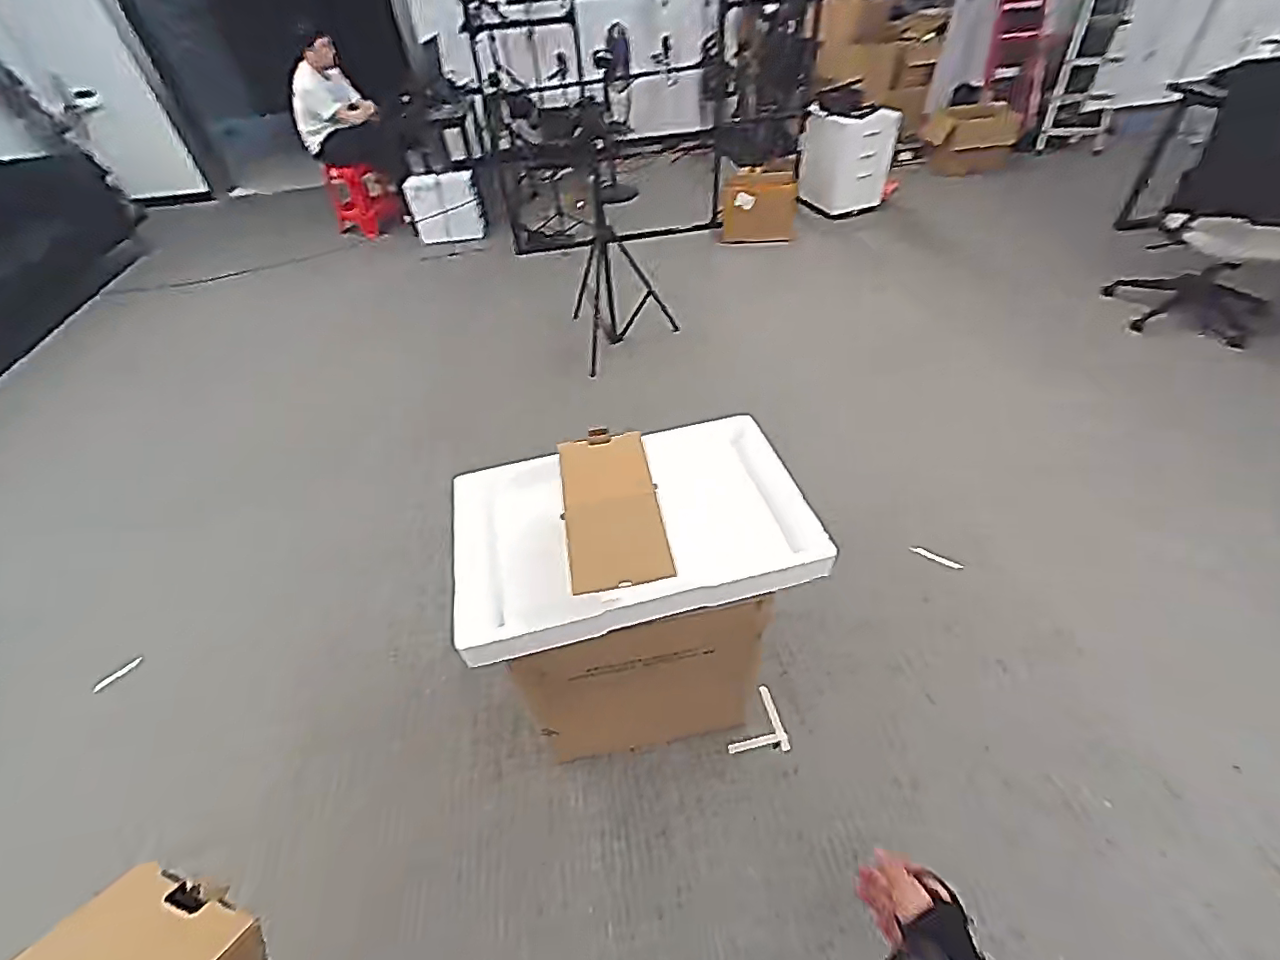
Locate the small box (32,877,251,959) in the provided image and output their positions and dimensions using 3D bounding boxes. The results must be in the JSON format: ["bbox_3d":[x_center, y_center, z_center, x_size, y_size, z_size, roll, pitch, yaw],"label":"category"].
[{"bbox_3d":[-0.461,0.511,0.469,0.168,0.176,0.179,6,16,18],"label":"small box"}]
